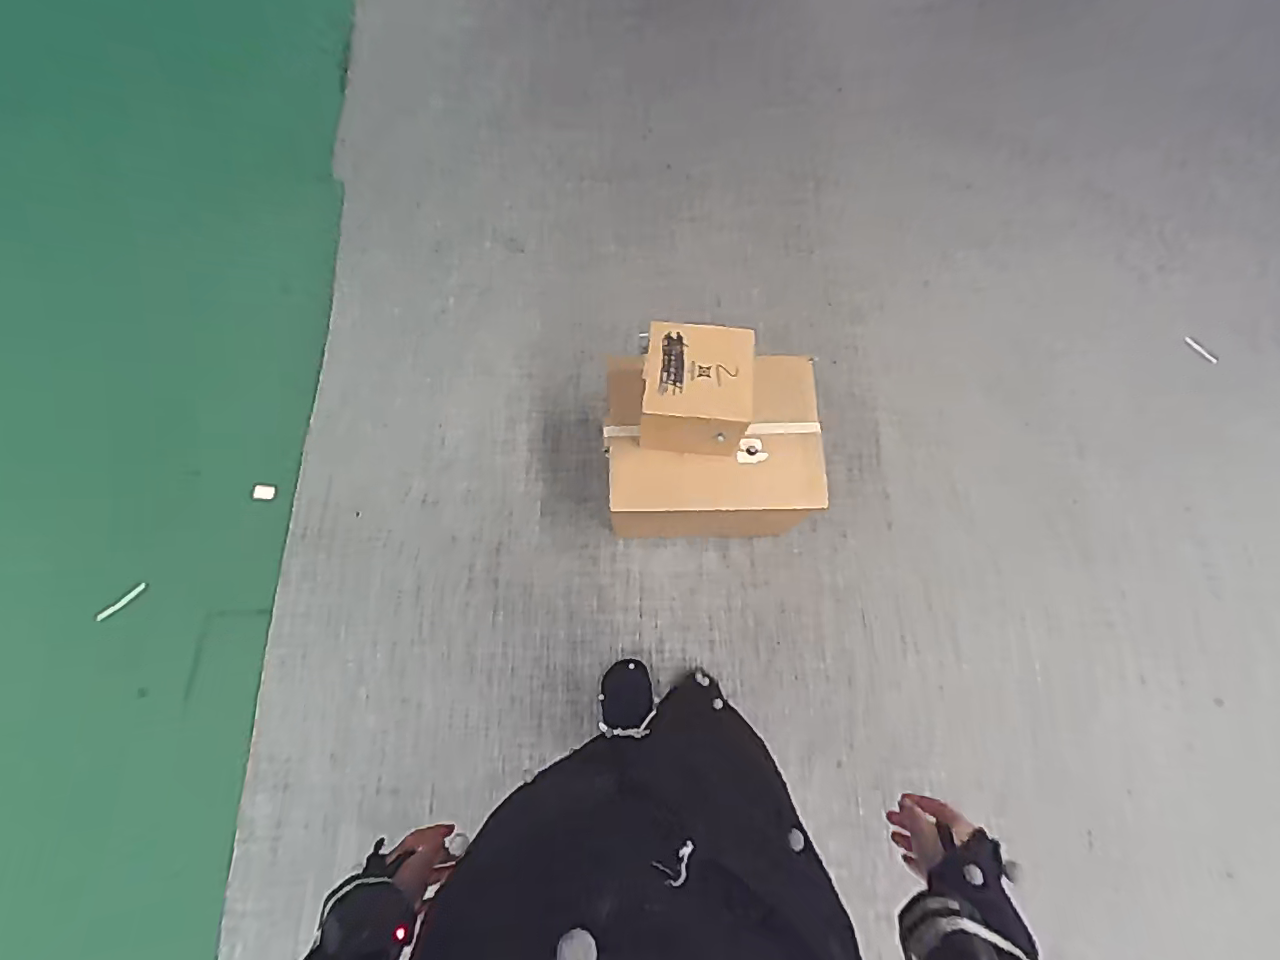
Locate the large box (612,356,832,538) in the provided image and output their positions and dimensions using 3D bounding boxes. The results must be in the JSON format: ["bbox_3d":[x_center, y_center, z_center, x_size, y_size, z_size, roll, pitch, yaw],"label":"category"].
[{"bbox_3d":[0.146,-0.055,1.167,0.408,0.320,0.320,-1,76,-2],"label":"large box"}]
